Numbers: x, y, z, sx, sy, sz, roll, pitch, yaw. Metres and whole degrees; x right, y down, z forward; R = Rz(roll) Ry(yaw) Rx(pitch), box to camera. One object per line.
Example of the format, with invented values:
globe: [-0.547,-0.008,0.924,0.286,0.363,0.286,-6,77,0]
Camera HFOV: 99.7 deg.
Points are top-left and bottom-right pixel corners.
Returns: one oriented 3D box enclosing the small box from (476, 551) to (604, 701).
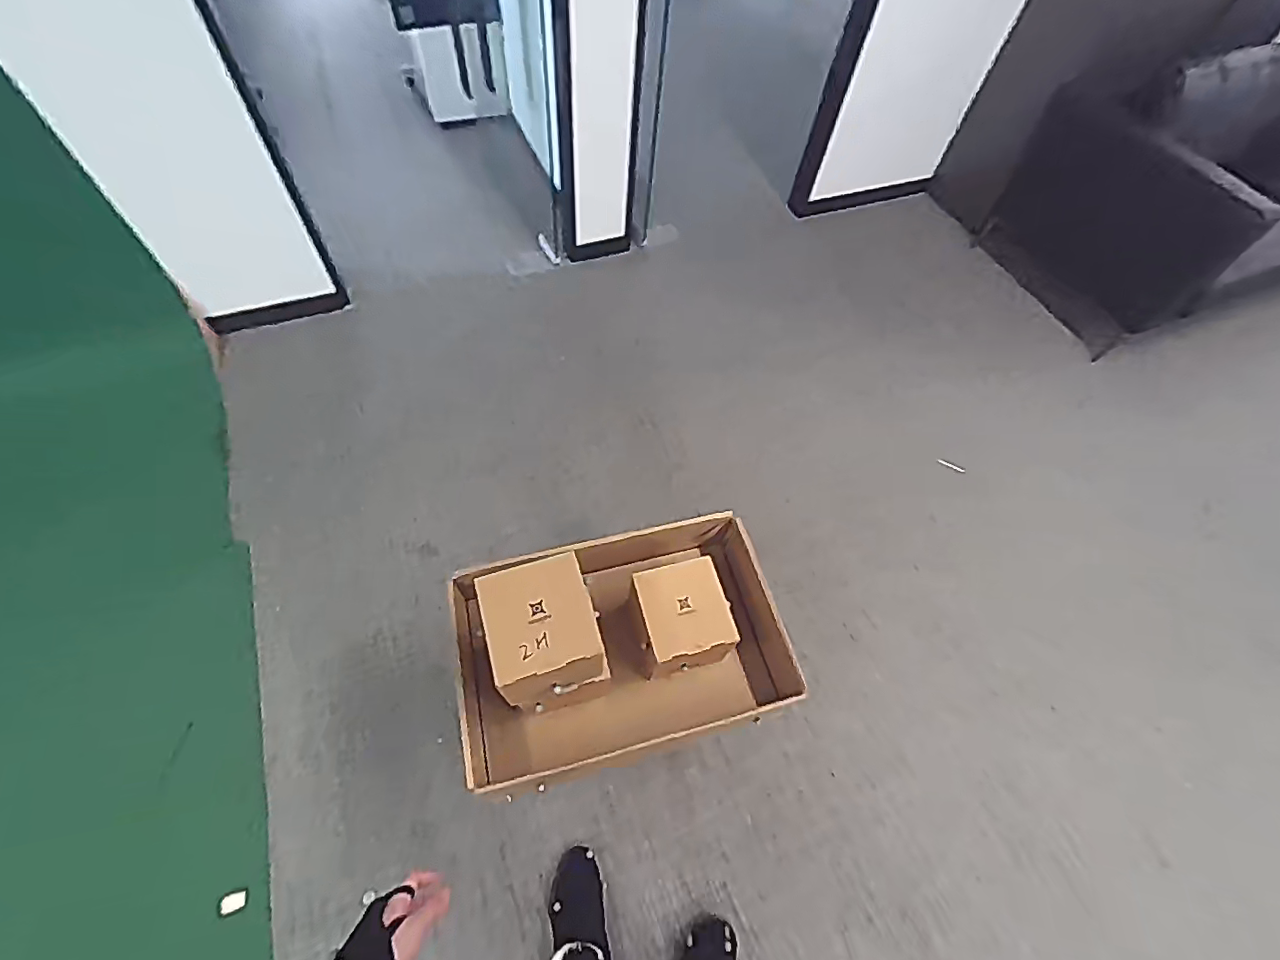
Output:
small box: [-0.164,0.244,0.894,0.168,0.176,0.179,-14,63,-13]
